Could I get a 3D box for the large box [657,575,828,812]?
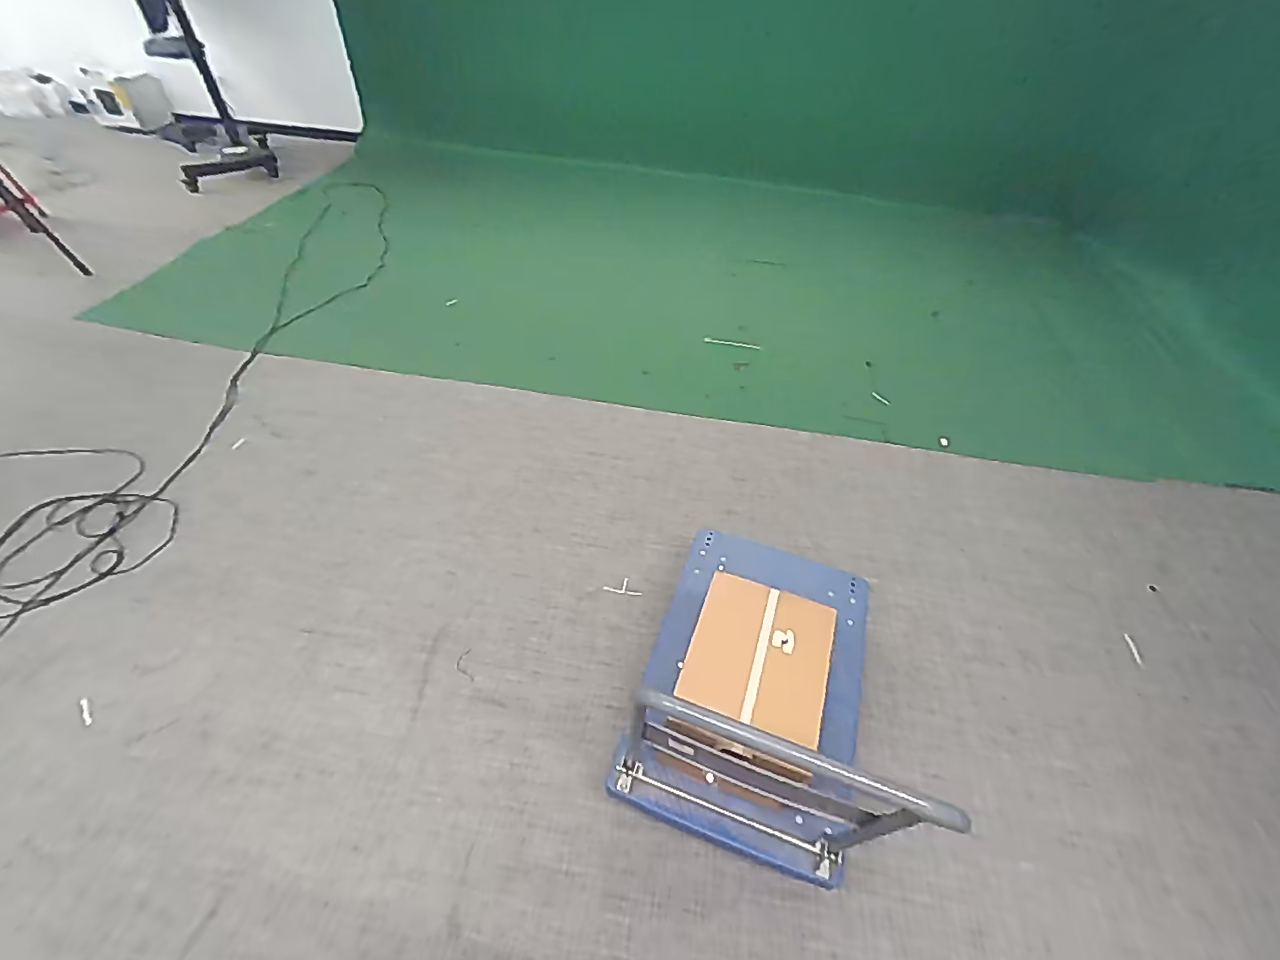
[{"bbox_3d":[0.251,0.522,1.343,0.320,0.320,0.408,17,47,11],"label":"large box"}]
